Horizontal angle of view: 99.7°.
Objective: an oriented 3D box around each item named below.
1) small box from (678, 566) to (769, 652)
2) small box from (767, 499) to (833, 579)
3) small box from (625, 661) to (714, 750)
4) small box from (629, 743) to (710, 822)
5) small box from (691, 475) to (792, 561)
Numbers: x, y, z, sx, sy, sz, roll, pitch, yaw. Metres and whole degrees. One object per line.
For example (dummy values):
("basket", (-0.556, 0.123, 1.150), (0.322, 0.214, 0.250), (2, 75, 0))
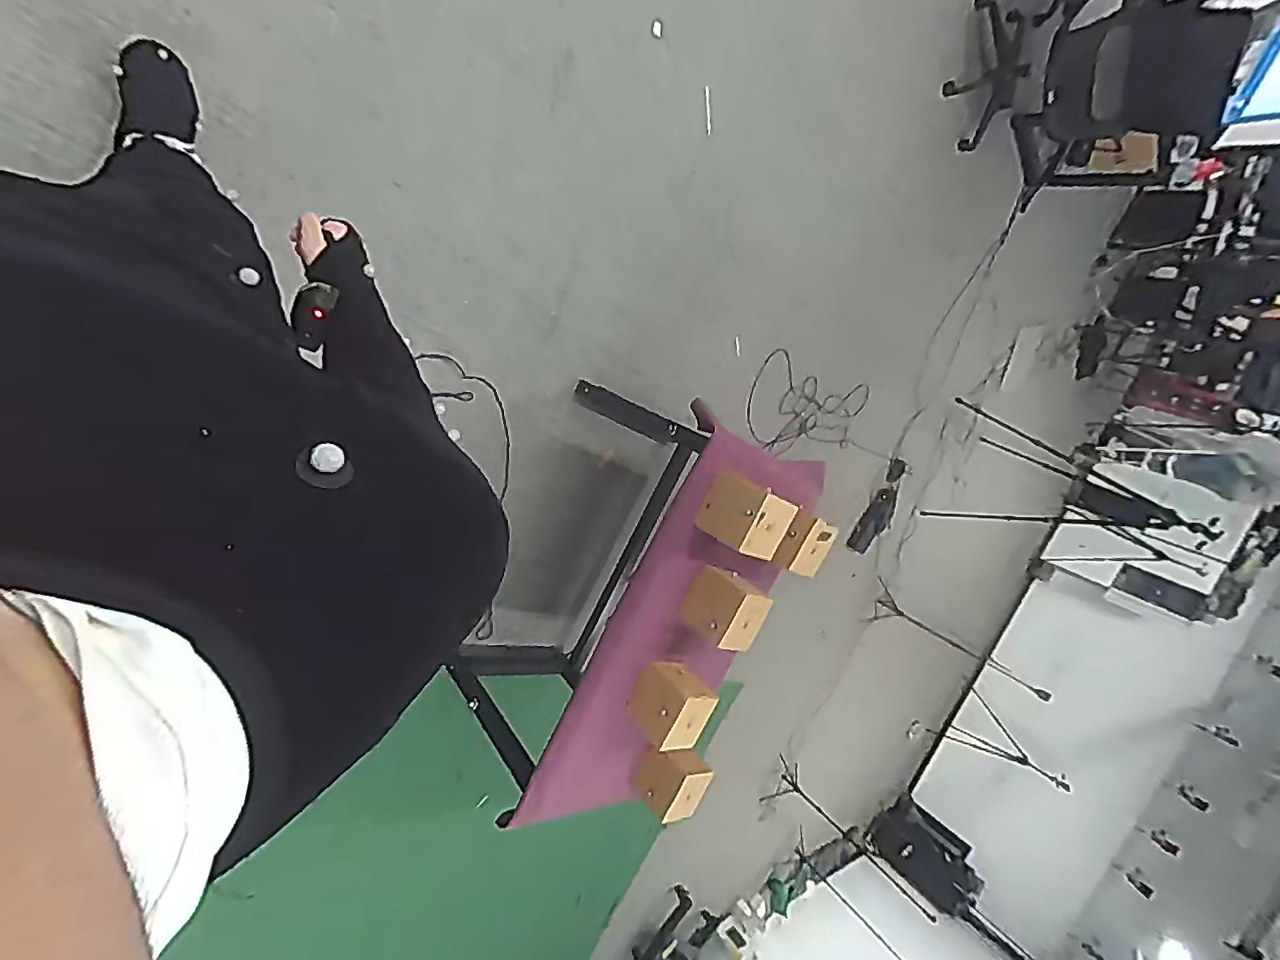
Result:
("small box", (0.237, 0.377, 1.582), (0.168, 0.176, 0.179), (24, 95, -47))
("small box", (0.457, 0.179, 1.673), (0.168, 0.176, 0.179), (23, 97, -46))
("small box", (0.079, 0.666, 1.602), (0.168, 0.176, 0.179), (24, 94, -46))
("small box", (0.090, 0.977, 1.775), (0.168, 0.176, 0.179), (26, 93, -45))
("small box", (0.273, 0.101, 1.462), (0.179, 0.176, 0.168), (20, 97, -48))
